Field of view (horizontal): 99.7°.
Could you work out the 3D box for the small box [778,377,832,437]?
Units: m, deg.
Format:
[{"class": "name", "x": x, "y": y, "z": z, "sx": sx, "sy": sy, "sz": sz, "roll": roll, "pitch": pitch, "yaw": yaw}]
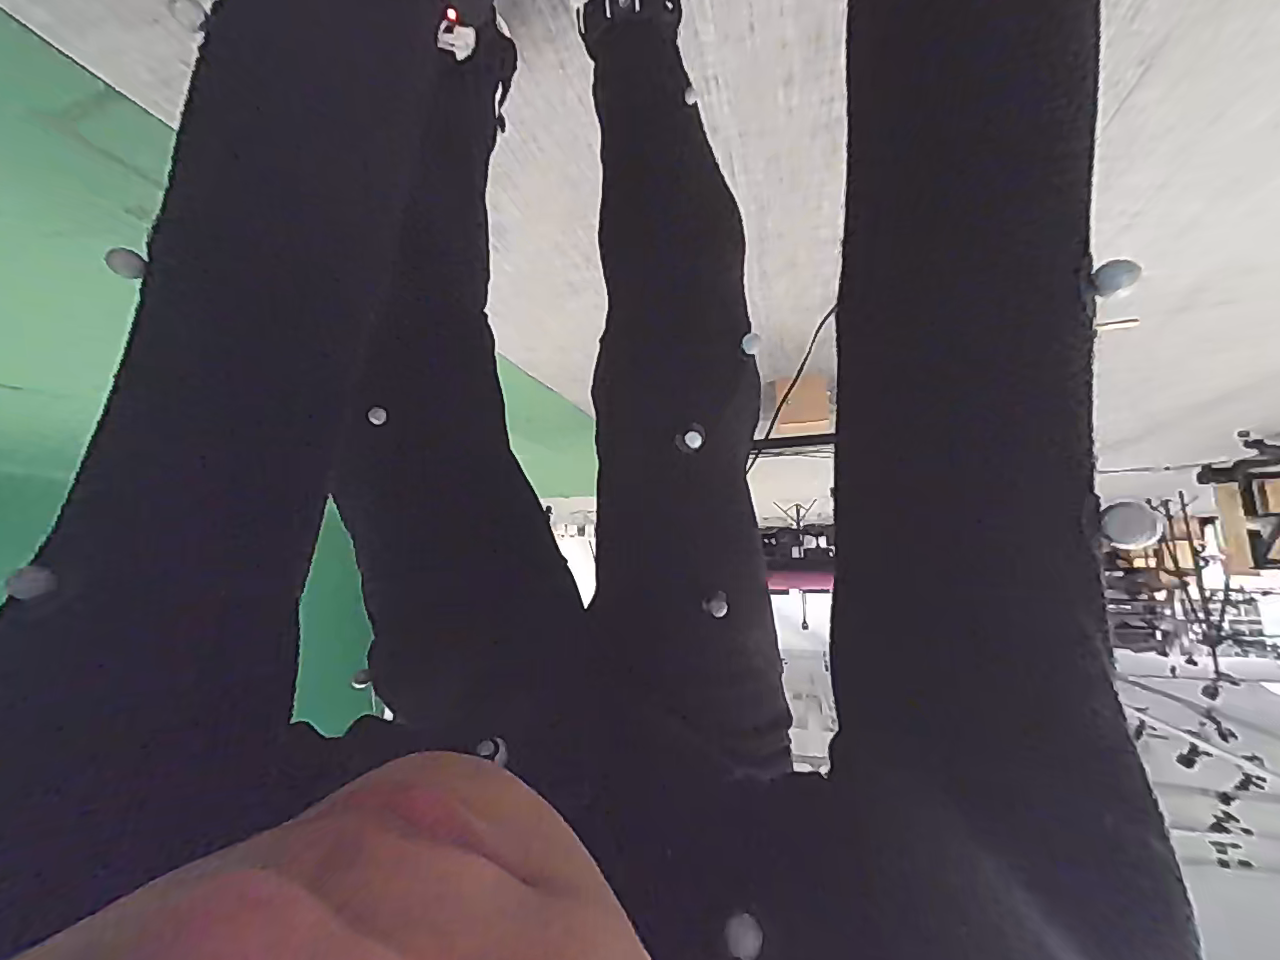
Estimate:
[{"class": "small box", "x": 0.595, "y": -0.262, "z": 1.955, "sx": 0.179, "sy": 0.176, "sz": 0.168, "roll": -4, "pitch": 171, "yaw": 17}]
